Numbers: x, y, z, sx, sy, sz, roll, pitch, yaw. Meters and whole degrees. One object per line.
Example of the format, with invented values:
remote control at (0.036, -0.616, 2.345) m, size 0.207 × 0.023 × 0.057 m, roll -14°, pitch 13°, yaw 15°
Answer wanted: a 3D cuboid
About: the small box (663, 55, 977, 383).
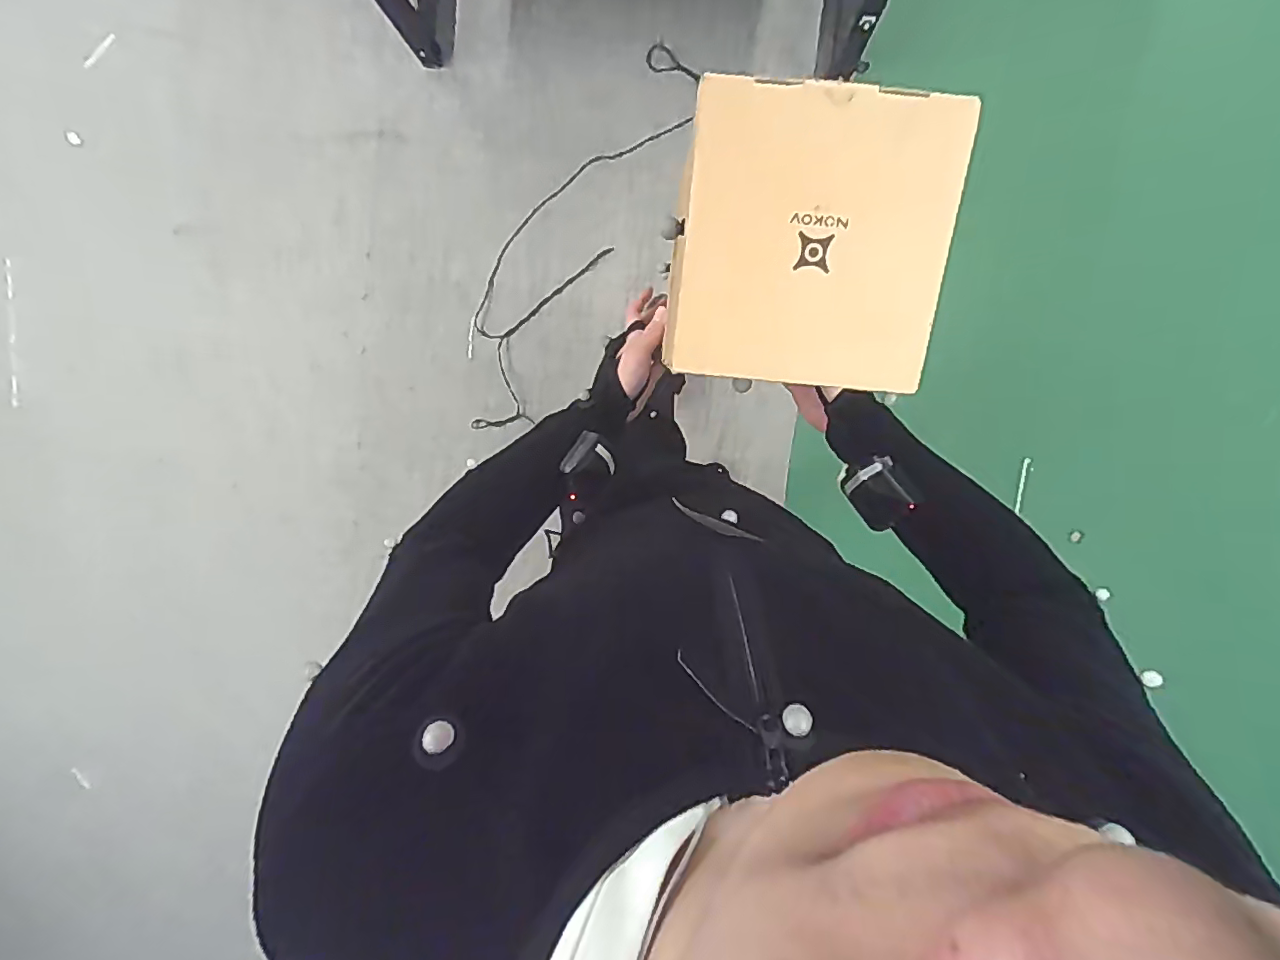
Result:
small box at (0.109, -0.176, 0.410) m, size 0.168 × 0.176 × 0.179 m, roll 6°, pitch 105°, yaw 2°
